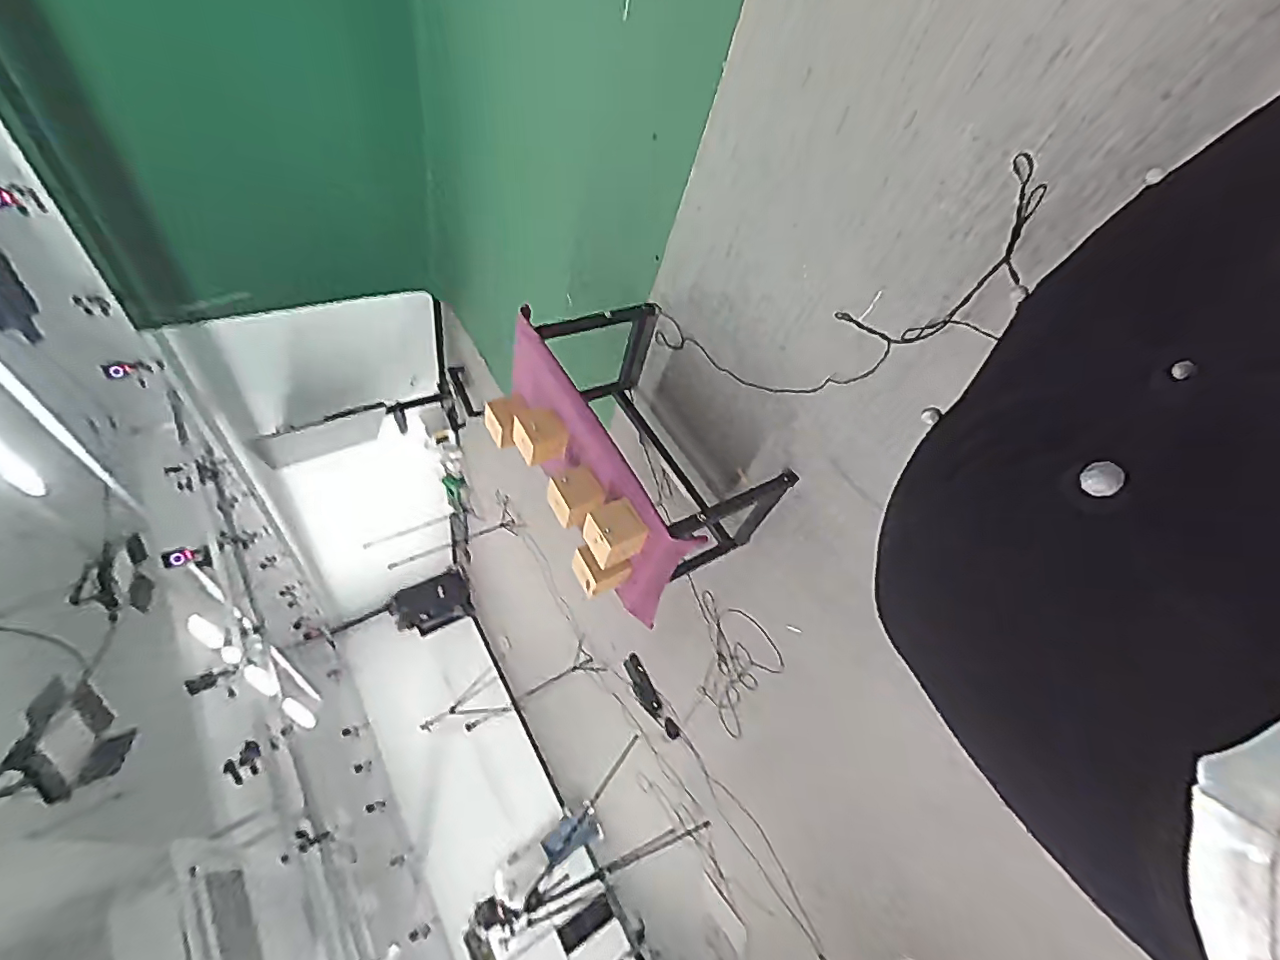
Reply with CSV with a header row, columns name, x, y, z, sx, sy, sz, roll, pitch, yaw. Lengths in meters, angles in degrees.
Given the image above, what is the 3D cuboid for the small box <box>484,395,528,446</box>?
name,x,y,z,sx,sy,sz,roll,pitch,yaw
small box,-0.639,-0.296,2.621,0.179,0.176,0.168,56,148,20

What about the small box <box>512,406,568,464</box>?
name,x,y,z,sx,sy,sz,roll,pitch,yaw
small box,-0.435,-0.201,2.345,0.179,0.176,0.168,55,149,21

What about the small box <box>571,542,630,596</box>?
name,x,y,z,sx,sy,sz,roll,pitch,yaw
small box,-0.162,0.348,2.247,0.179,0.176,0.168,57,149,22

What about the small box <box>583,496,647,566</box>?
name,x,y,z,sx,sy,sz,roll,pitch,yaw
small box,-0.092,0.188,2.015,0.168,0.176,0.179,55,150,23

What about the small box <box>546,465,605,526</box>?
name,x,y,z,sx,sy,sz,roll,pitch,yaw
small box,-0.267,0.057,2.227,0.179,0.176,0.168,56,150,21
